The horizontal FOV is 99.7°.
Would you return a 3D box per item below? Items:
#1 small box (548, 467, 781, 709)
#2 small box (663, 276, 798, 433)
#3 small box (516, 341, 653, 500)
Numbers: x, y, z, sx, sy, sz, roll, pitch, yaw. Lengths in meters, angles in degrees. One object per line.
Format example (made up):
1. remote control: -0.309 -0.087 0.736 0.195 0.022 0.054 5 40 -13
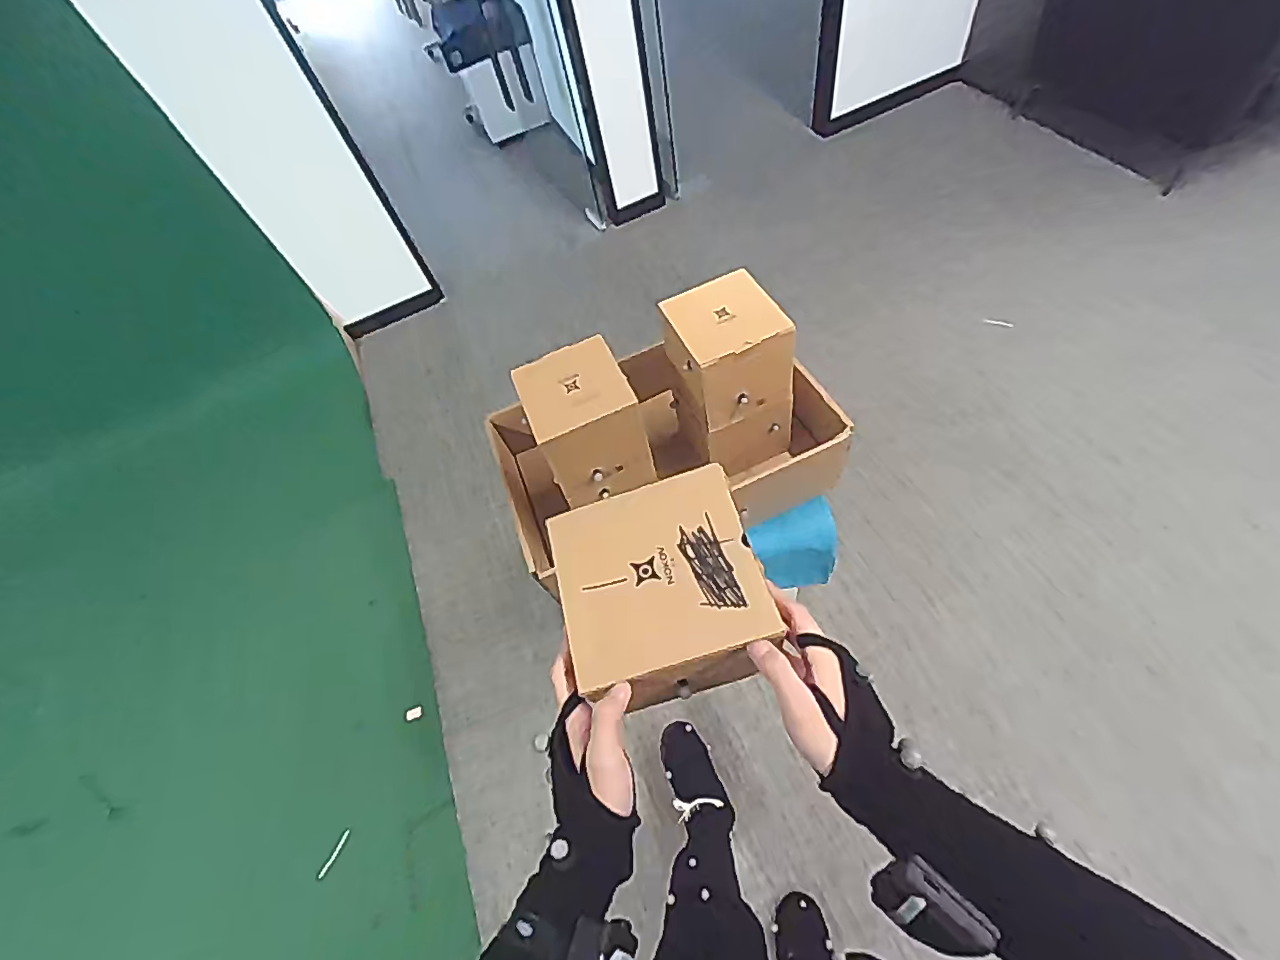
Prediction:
1. small box: 0.026 0.116 0.541 0.179 0.176 0.168 -17 59 2
2. small box: 0.154 -0.214 0.942 0.168 0.176 0.179 -23 55 -3
3. small box: -0.091 -0.097 0.918 0.168 0.176 0.179 -23 55 -4
